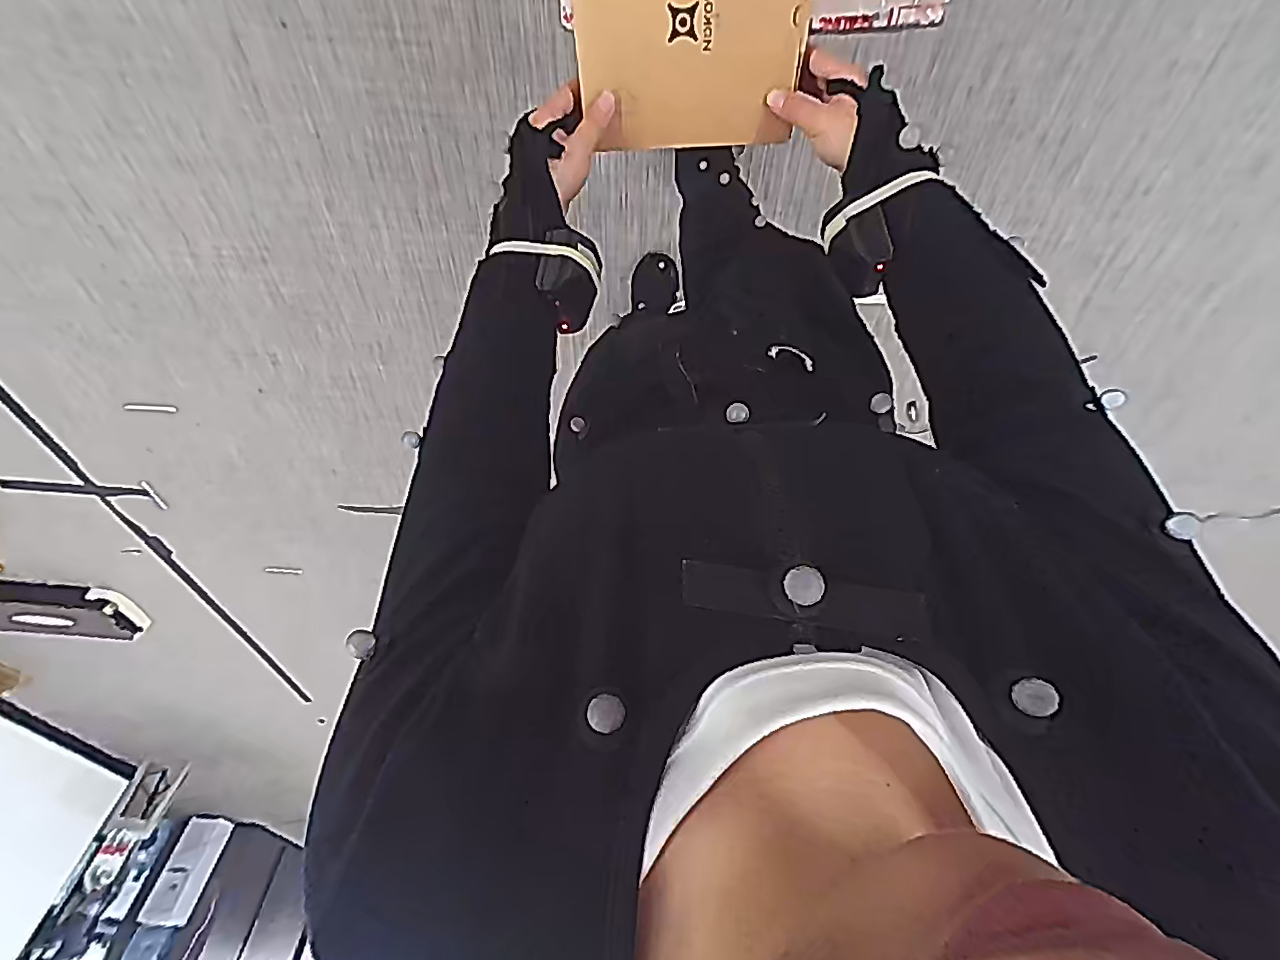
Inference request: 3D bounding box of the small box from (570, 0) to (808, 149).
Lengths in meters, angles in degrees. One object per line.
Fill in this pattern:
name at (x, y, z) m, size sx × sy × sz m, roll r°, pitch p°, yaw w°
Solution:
small box at (0.037, -0.398, 0.457) m, size 0.179 × 0.176 × 0.168 m, roll -2°, pitch 136°, yaw 2°
